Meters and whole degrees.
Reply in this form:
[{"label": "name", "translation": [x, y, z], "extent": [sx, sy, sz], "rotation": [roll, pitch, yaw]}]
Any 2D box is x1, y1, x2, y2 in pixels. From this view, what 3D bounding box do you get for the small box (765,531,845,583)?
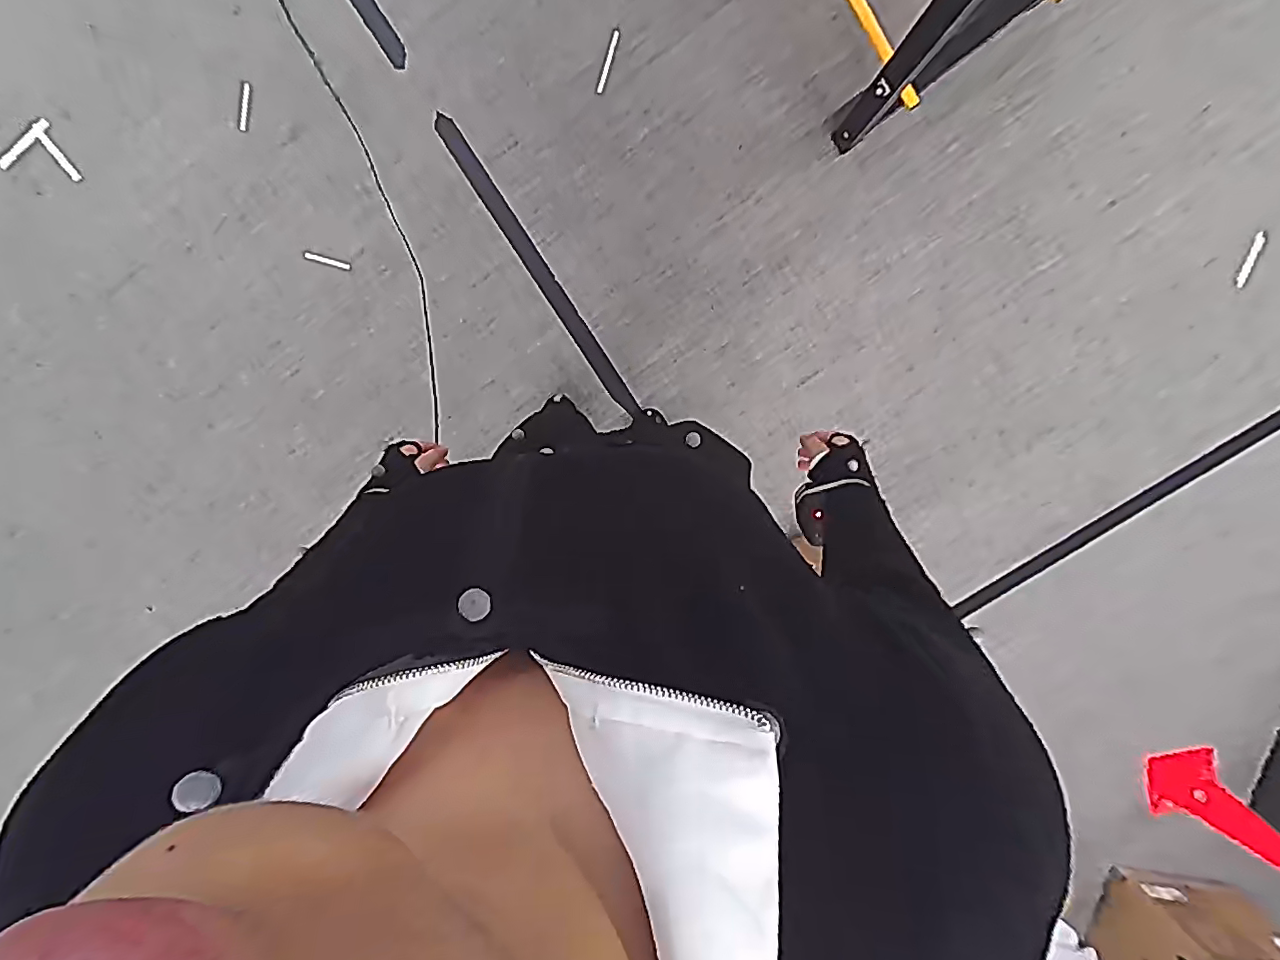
[{"label": "small box", "translation": [0.451, 0.261, 1.447], "extent": [0.179, 0.176, 0.168], "rotation": [-32, 98, 6]}]
